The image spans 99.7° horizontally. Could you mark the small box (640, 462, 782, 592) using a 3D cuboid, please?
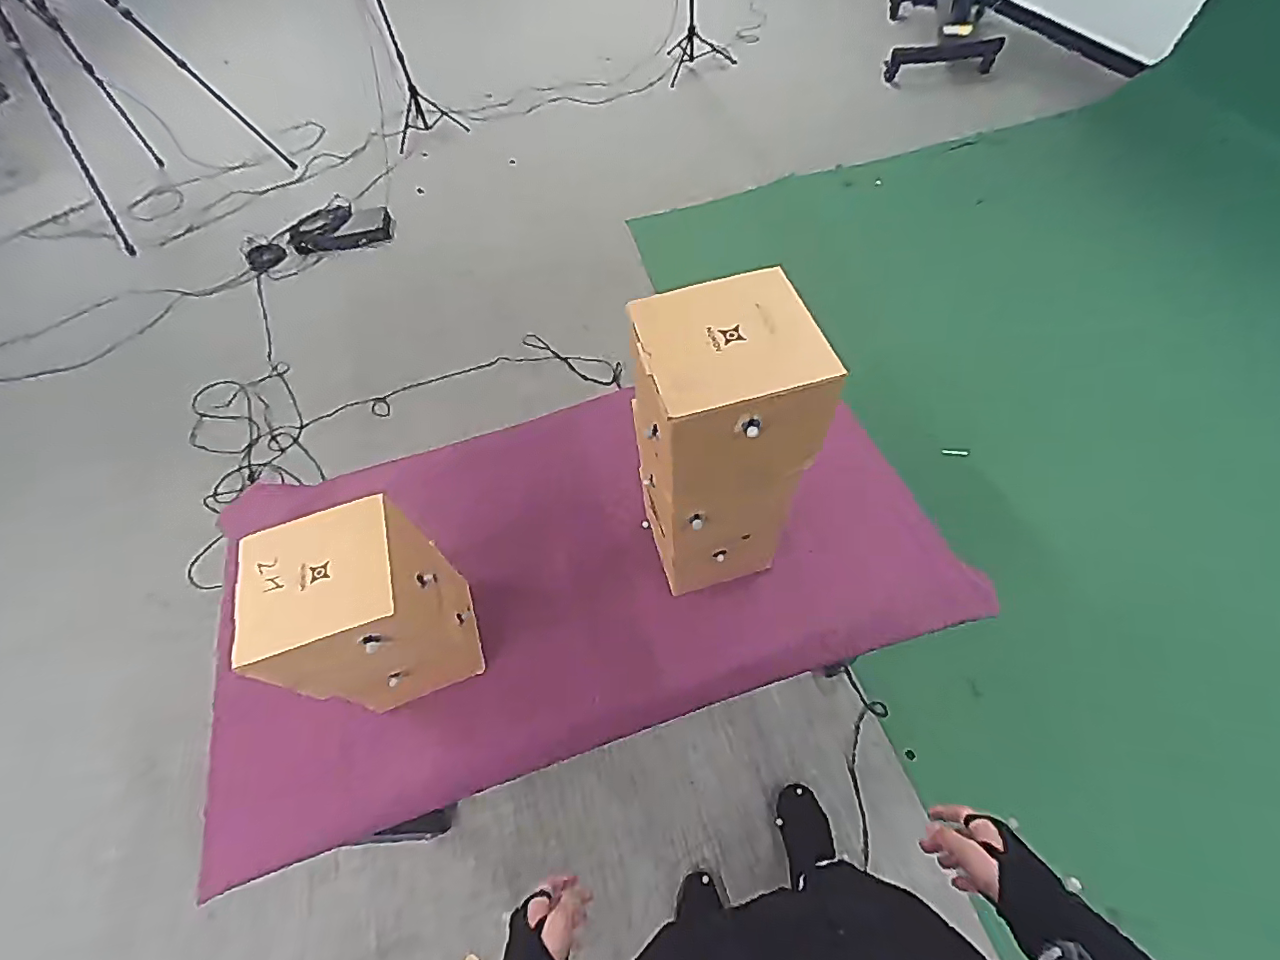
[{"bbox_3d":[0.111,0.065,0.887,0.179,0.176,0.168,-16,58,-5],"label":"small box"}]

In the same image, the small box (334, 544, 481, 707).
[{"bbox_3d":[-0.357,0.227,0.828,0.179,0.176,0.168,-20,59,-7],"label":"small box"}]

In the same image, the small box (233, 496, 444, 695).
[{"bbox_3d":[-0.362,0.150,0.681,0.179,0.176,0.168,-19,58,-6],"label":"small box"}]

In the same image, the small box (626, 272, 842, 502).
[{"bbox_3d":[0.094,-0.095,0.602,0.179,0.176,0.168,-14,58,-4],"label":"small box"}]
